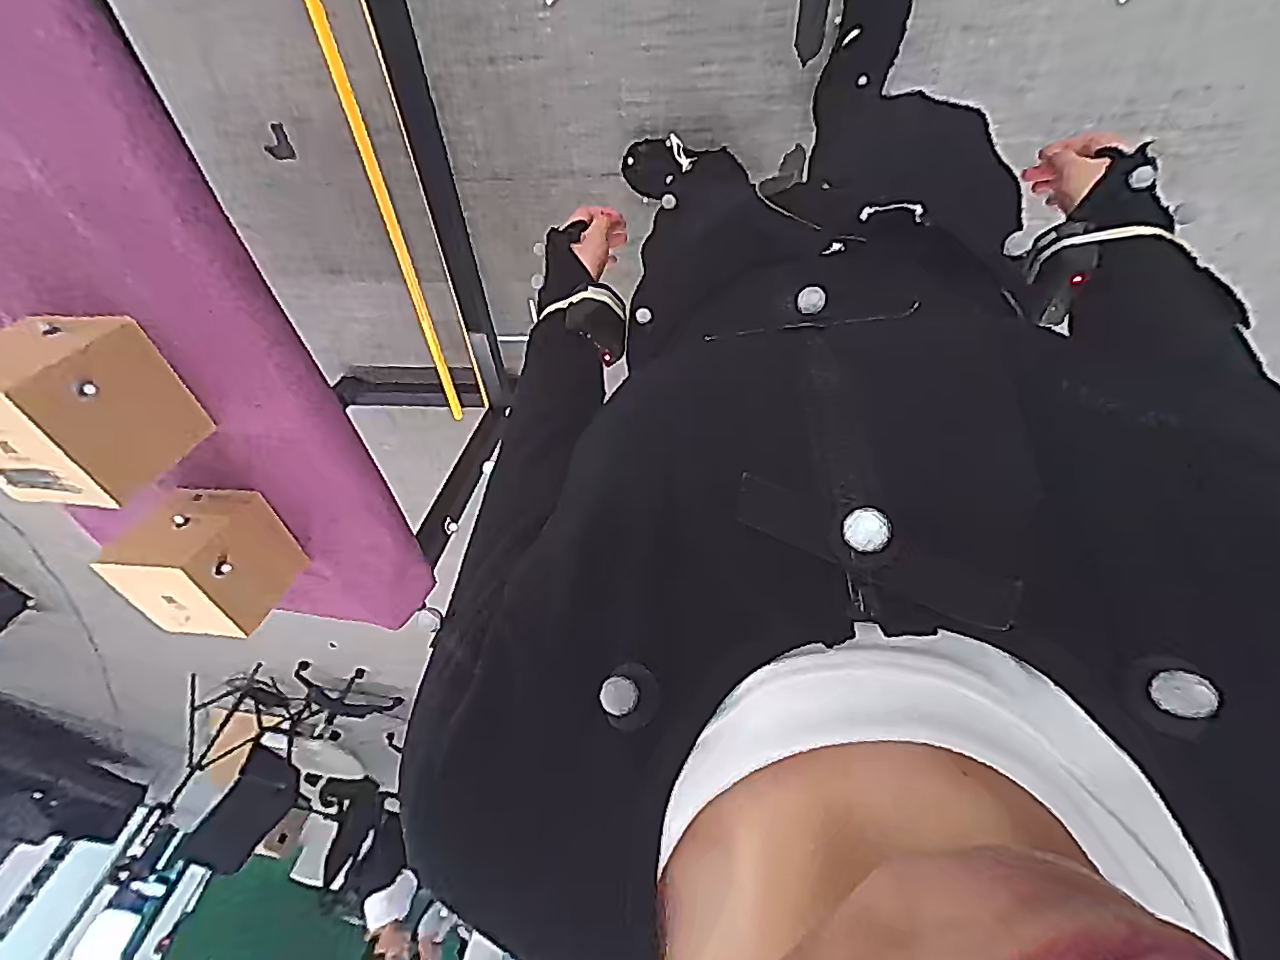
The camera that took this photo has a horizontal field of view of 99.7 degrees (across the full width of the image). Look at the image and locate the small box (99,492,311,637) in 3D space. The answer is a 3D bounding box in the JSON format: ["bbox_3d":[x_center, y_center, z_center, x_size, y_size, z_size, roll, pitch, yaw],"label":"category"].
[{"bbox_3d":[-0.699,0.135,0.894,0.168,0.176,0.179,2,131,11],"label":"small box"}]
